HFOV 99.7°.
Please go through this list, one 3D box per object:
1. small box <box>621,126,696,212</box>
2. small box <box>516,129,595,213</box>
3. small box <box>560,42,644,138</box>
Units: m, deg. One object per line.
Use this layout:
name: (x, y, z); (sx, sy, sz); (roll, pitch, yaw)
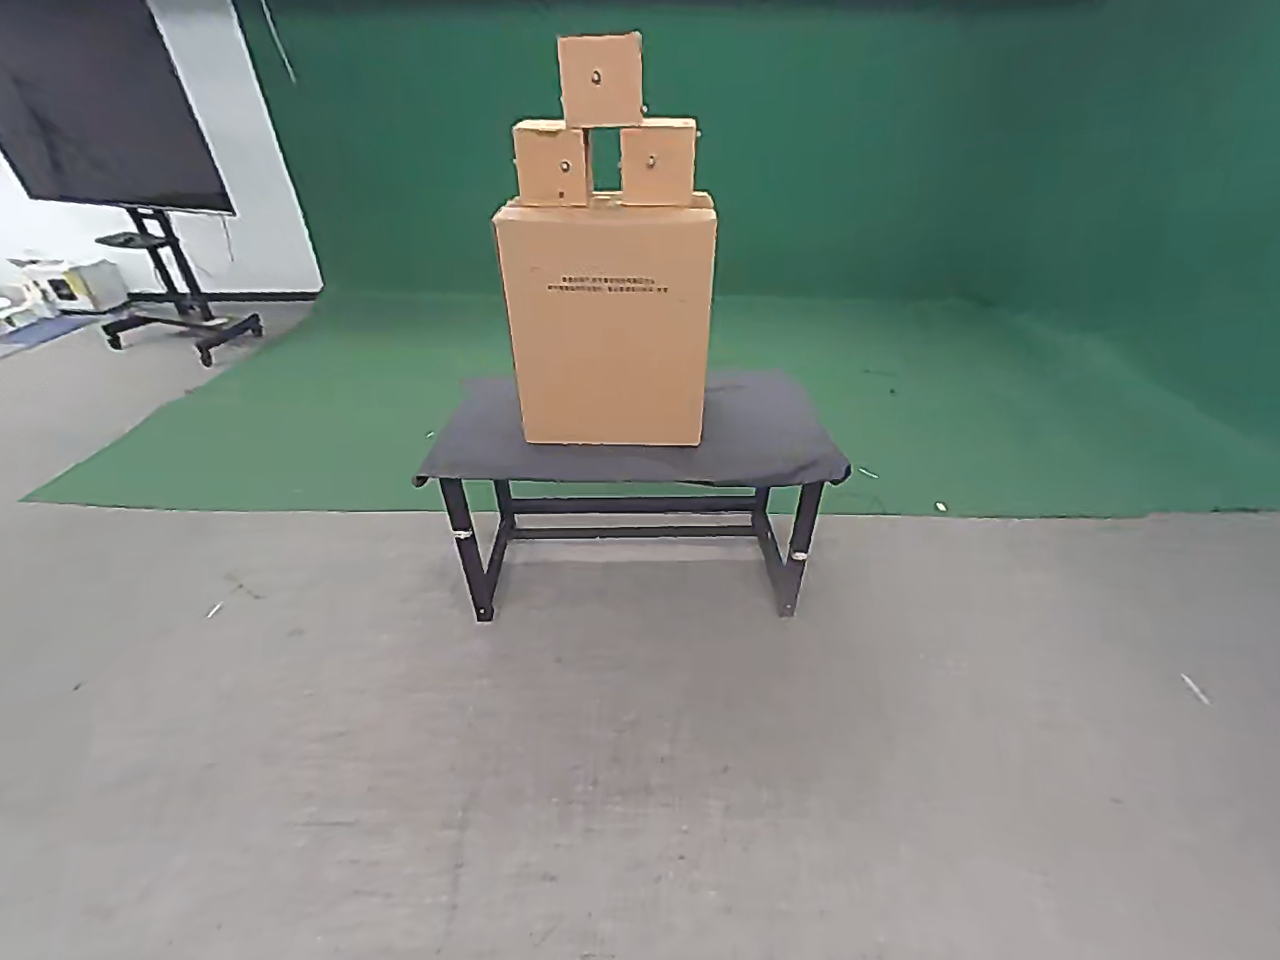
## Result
small box: (0.051, -0.781, 1.359); (0.179, 0.176, 0.168); (1, 39, 4)
small box: (-0.205, -0.783, 1.369); (0.168, 0.176, 0.179); (2, 37, 1)
small box: (-0.081, -0.911, 1.262); (0.179, 0.176, 0.168); (-1, 38, 3)
